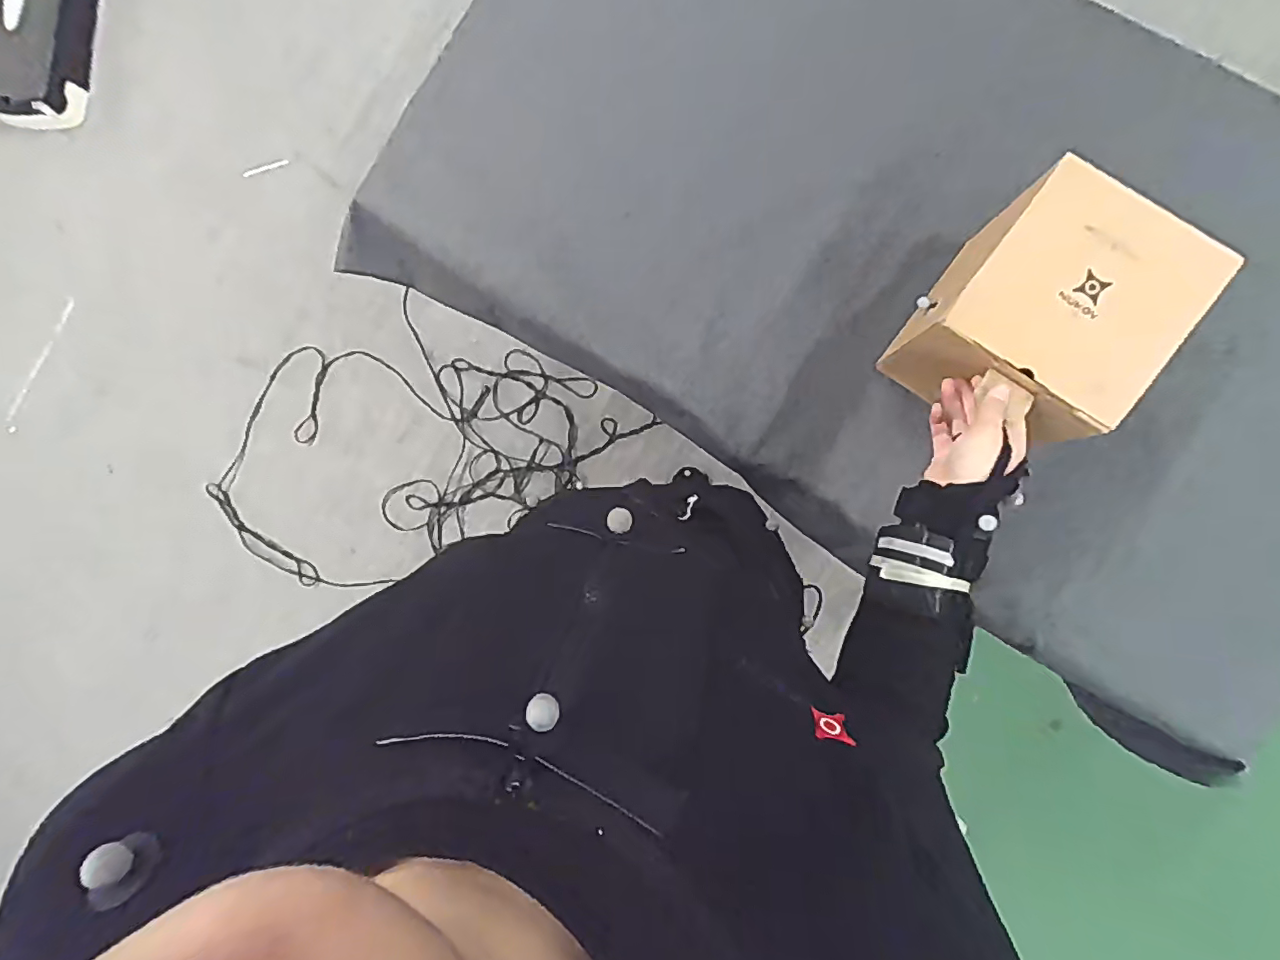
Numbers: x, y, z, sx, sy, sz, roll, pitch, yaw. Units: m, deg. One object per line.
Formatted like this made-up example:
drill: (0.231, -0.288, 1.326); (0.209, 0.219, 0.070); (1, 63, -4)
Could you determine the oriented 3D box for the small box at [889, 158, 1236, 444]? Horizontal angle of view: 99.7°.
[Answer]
small box: (0.373, -0.150, 0.523); (0.168, 0.176, 0.179); (36, 91, 5)
